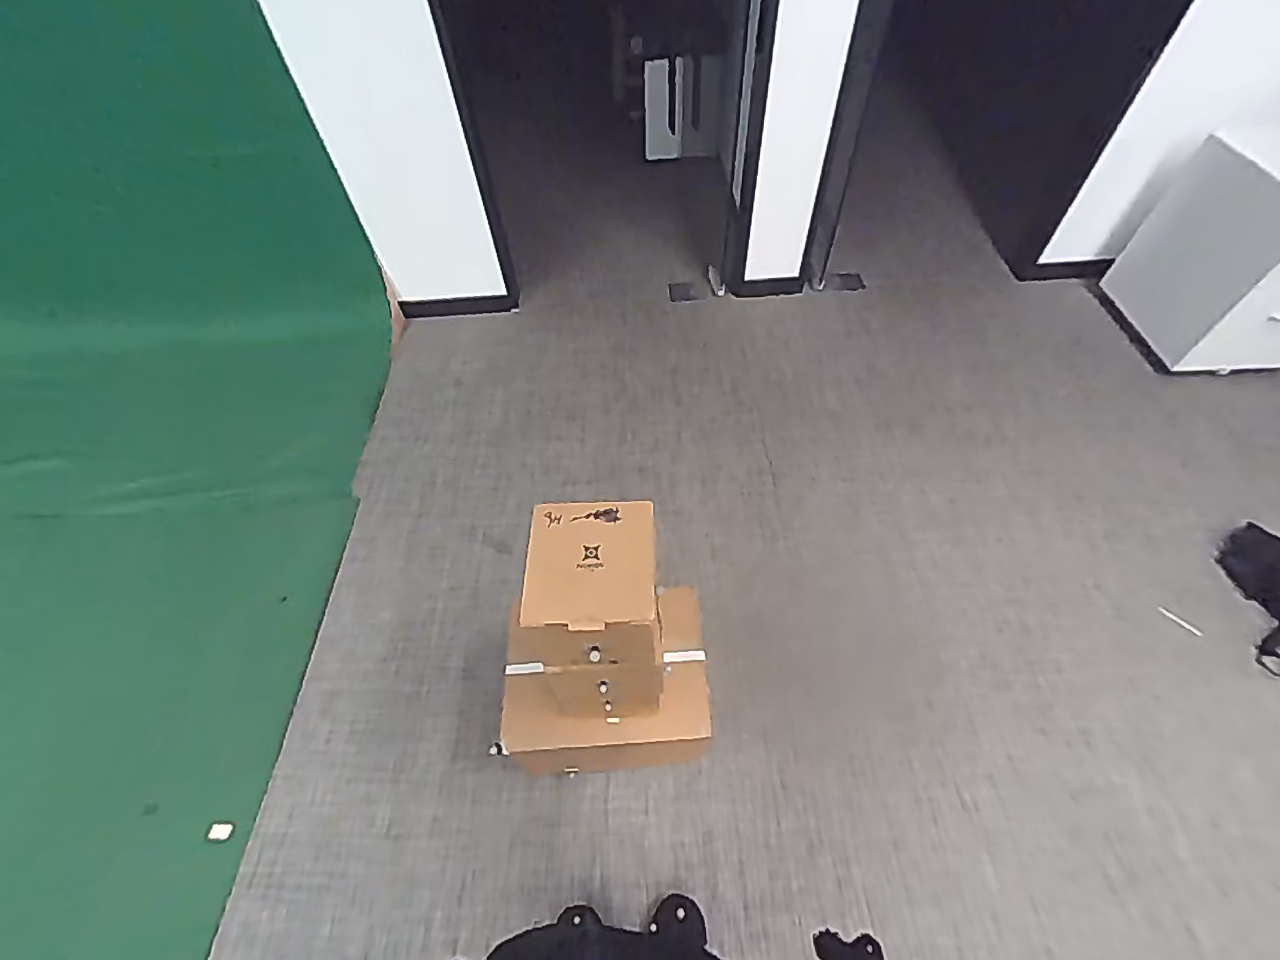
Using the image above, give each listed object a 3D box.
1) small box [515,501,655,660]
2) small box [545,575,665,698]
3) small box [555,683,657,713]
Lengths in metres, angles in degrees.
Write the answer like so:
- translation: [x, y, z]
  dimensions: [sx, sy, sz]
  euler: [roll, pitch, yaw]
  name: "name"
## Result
- translation: [-0.064, 0.147, 0.760]
  dimensions: [0.168, 0.176, 0.179]
  euler: [-1, 56, 3]
  name: "small box"
- translation: [-0.056, 0.249, 0.888]
  dimensions: [0.179, 0.176, 0.168]
  euler: [-6, 55, -2]
  name: "small box"
- translation: [-0.058, 0.338, 1.026]
  dimensions: [0.179, 0.176, 0.168]
  euler: [-2, 55, 0]
  name: "small box"
